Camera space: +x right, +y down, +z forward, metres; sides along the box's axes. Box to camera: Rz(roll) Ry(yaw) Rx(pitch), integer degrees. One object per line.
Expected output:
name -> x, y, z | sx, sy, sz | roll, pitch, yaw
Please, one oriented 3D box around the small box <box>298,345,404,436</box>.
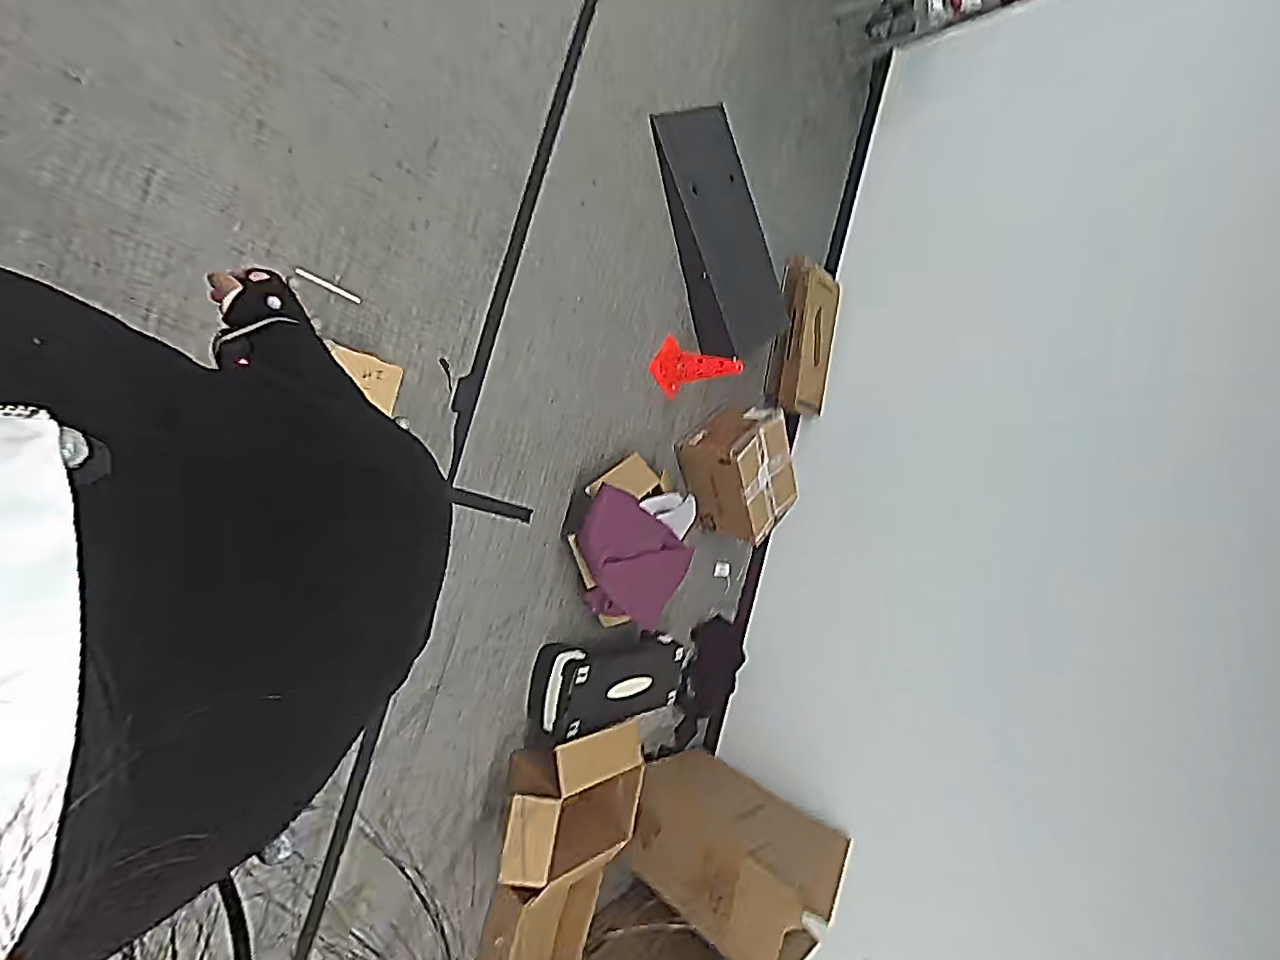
small box -> -0.714, -0.218, 1.328 | 0.168, 0.176, 0.179 | 17, 85, -48
